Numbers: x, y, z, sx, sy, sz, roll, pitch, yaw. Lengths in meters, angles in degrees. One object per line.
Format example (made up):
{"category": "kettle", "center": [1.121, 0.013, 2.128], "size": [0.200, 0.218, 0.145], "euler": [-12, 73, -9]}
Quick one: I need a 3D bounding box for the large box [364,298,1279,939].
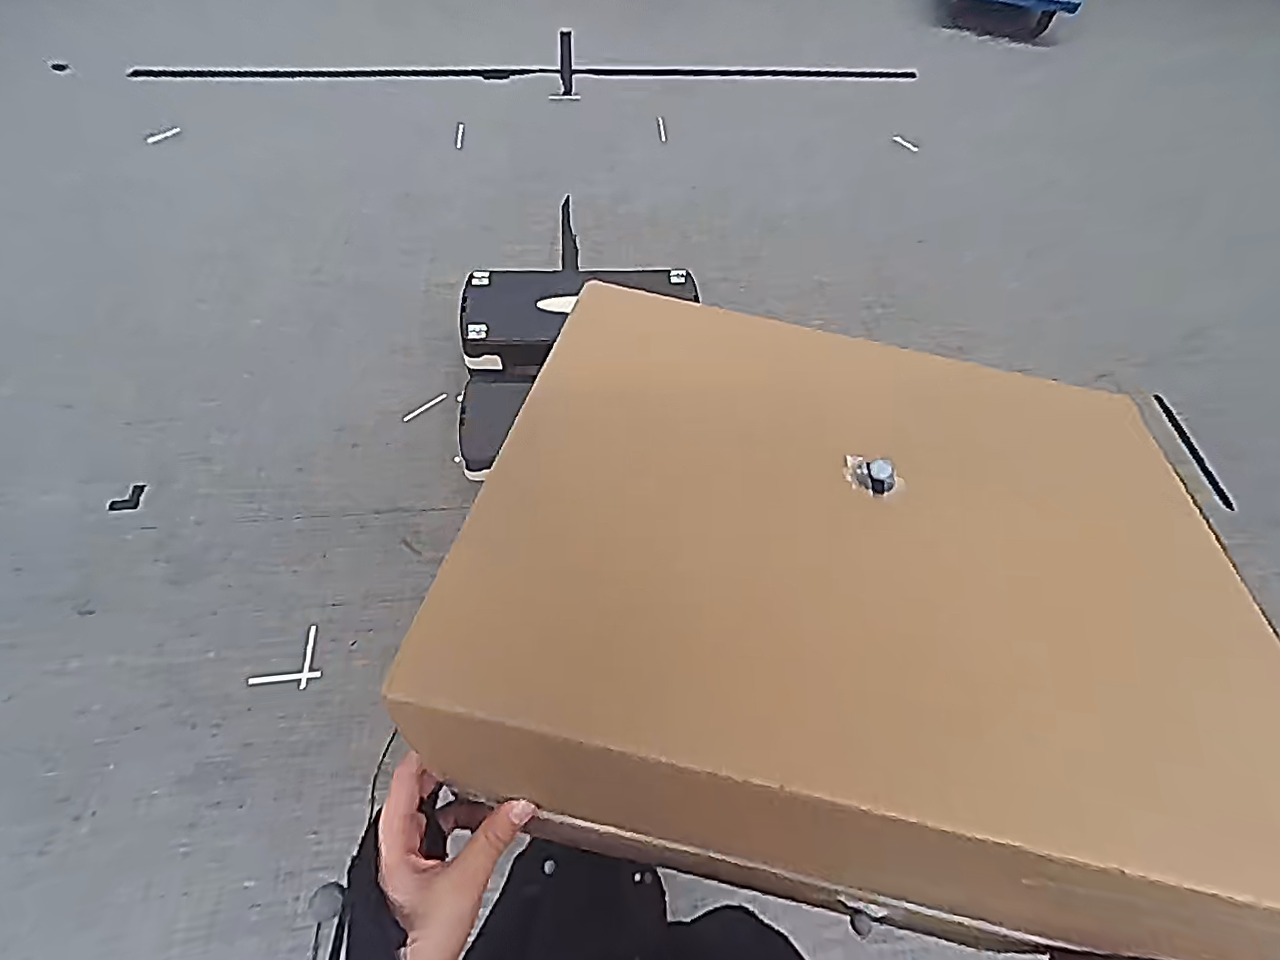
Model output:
{"category": "large box", "center": [0.096, 0.101, 0.410], "size": [0.408, 0.320, 0.320], "euler": [11, 51, 2]}

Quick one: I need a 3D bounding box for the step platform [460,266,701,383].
{"category": "step platform", "center": [-0.165, -0.444, 1.578], "size": [0.684, 0.204, 0.286], "euler": [2, 63, -3]}
